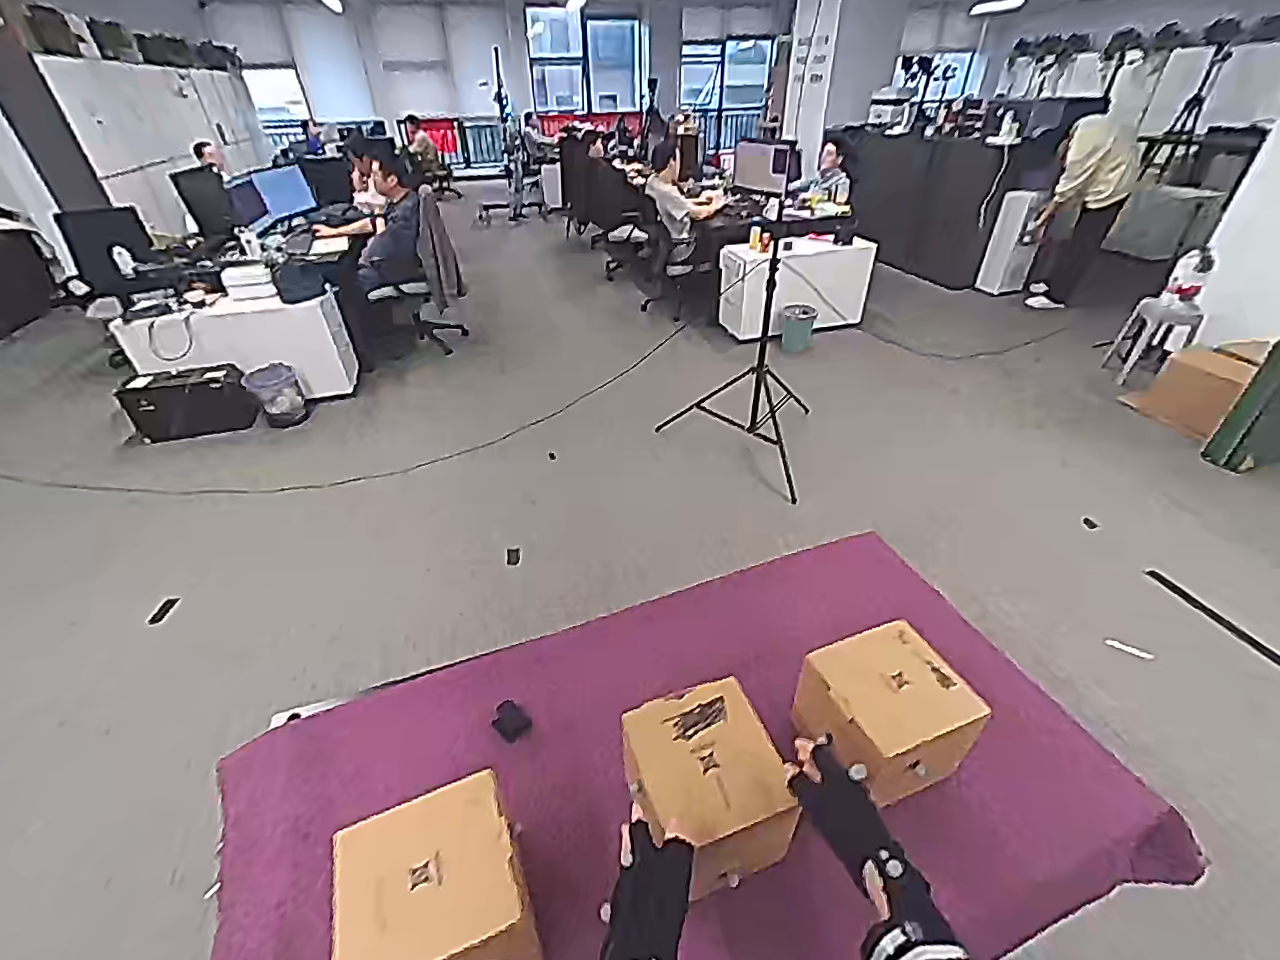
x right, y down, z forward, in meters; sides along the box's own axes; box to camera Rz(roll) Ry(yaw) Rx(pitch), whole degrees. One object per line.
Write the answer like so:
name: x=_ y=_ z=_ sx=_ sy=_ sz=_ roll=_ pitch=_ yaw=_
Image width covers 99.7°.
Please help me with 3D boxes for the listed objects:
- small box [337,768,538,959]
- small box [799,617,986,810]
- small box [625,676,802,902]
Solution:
small box: x=-0.222 y=0.477 z=0.615 sx=0.179 sy=0.176 sz=0.168 roll=-17 pitch=37 yaw=-18
small box: x=0.347 y=0.337 z=0.784 sx=0.179 sy=0.176 sz=0.168 roll=-14 pitch=37 yaw=-15
small box: x=0.084 y=0.399 z=0.708 sx=0.168 sy=0.176 sz=0.179 roll=-13 pitch=38 yaw=-15
